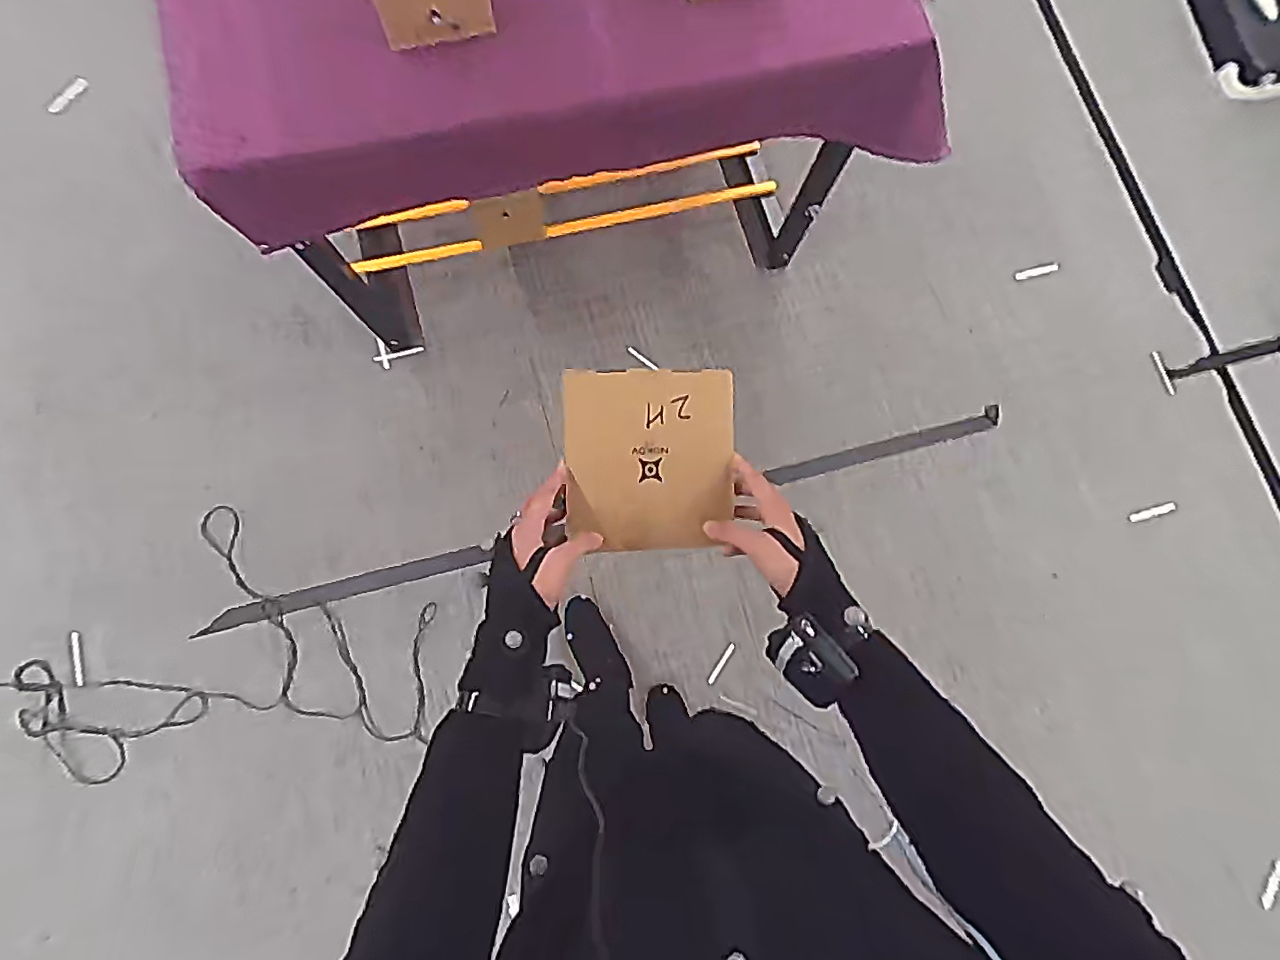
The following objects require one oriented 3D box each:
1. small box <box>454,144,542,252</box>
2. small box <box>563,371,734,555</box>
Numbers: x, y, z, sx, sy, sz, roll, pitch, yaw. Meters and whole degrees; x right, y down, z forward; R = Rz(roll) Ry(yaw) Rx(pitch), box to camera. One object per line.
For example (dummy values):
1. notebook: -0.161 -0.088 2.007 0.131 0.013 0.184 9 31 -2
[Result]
1. small box: -0.359 -0.727 1.406 0.179 0.176 0.168 -17 82 -6
2. small box: 0.001 -0.022 0.597 0.168 0.176 0.179 -2 94 -8
